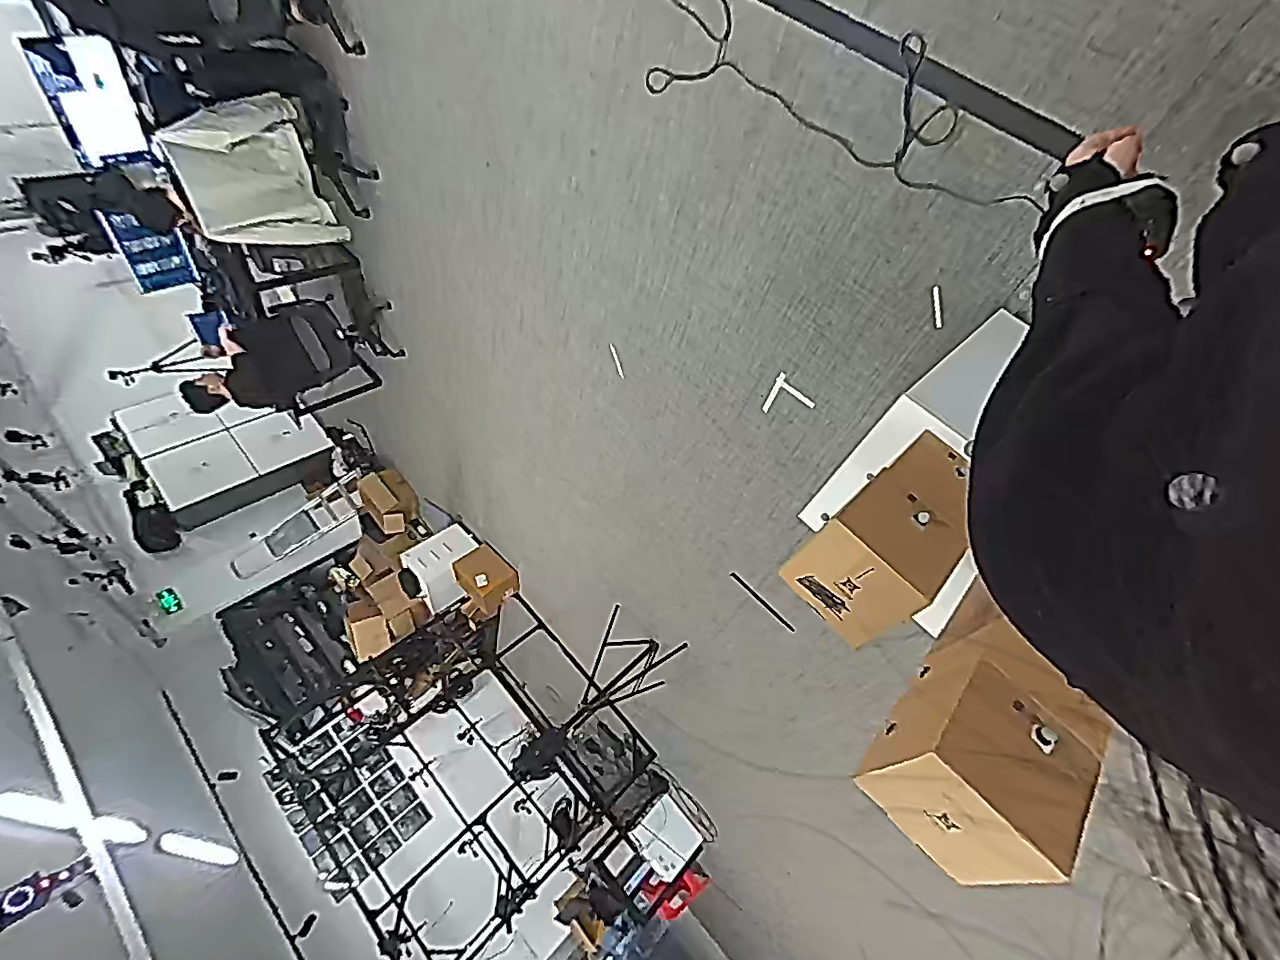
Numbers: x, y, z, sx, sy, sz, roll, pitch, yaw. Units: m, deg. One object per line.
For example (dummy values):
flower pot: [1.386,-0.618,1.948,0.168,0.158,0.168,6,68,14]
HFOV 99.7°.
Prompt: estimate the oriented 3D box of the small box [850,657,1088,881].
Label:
small box: [0.409,0.359,0.680,0.168,0.176,0.179,43,143,18]

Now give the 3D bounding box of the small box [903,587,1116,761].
small box: [0.523,0.284,0.768,0.168,0.176,0.179,44,145,18]

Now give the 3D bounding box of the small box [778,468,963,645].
small box: [0.354,0.115,0.835,0.168,0.176,0.179,45,143,16]
